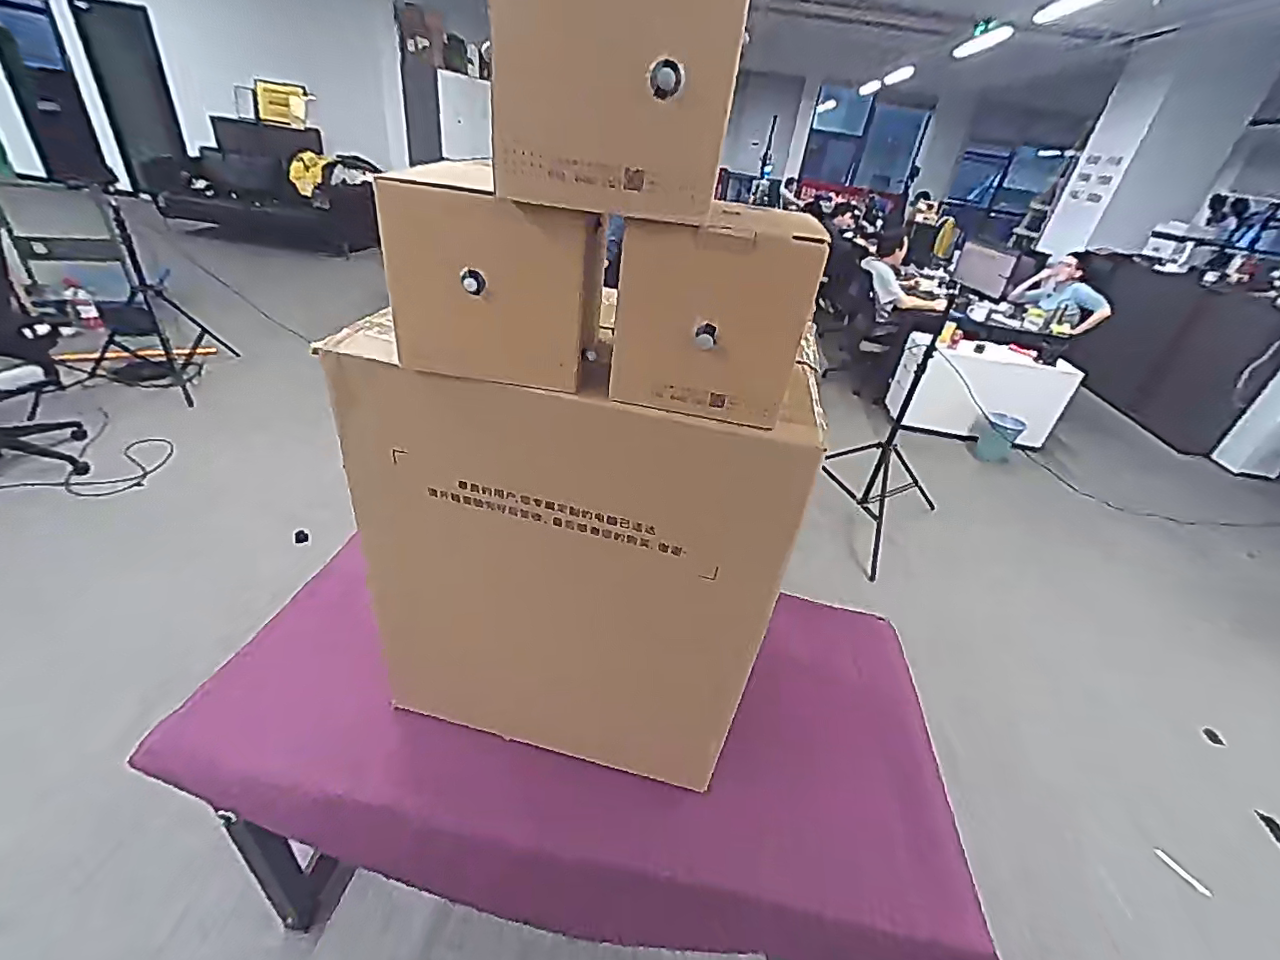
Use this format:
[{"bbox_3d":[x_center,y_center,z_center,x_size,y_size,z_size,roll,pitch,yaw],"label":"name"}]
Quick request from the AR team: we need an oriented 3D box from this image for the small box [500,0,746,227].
[{"bbox_3d":[-0.015,-0.317,0.445,0.168,0.176,0.179,7,33,-4],"label":"small box"}]

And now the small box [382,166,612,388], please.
[{"bbox_3d":[-0.127,-0.206,0.549,0.179,0.176,0.168,8,33,0],"label":"small box"}]

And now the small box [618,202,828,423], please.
[{"bbox_3d":[0.076,-0.175,0.545,0.168,0.176,0.179,11,34,4],"label":"small box"}]
